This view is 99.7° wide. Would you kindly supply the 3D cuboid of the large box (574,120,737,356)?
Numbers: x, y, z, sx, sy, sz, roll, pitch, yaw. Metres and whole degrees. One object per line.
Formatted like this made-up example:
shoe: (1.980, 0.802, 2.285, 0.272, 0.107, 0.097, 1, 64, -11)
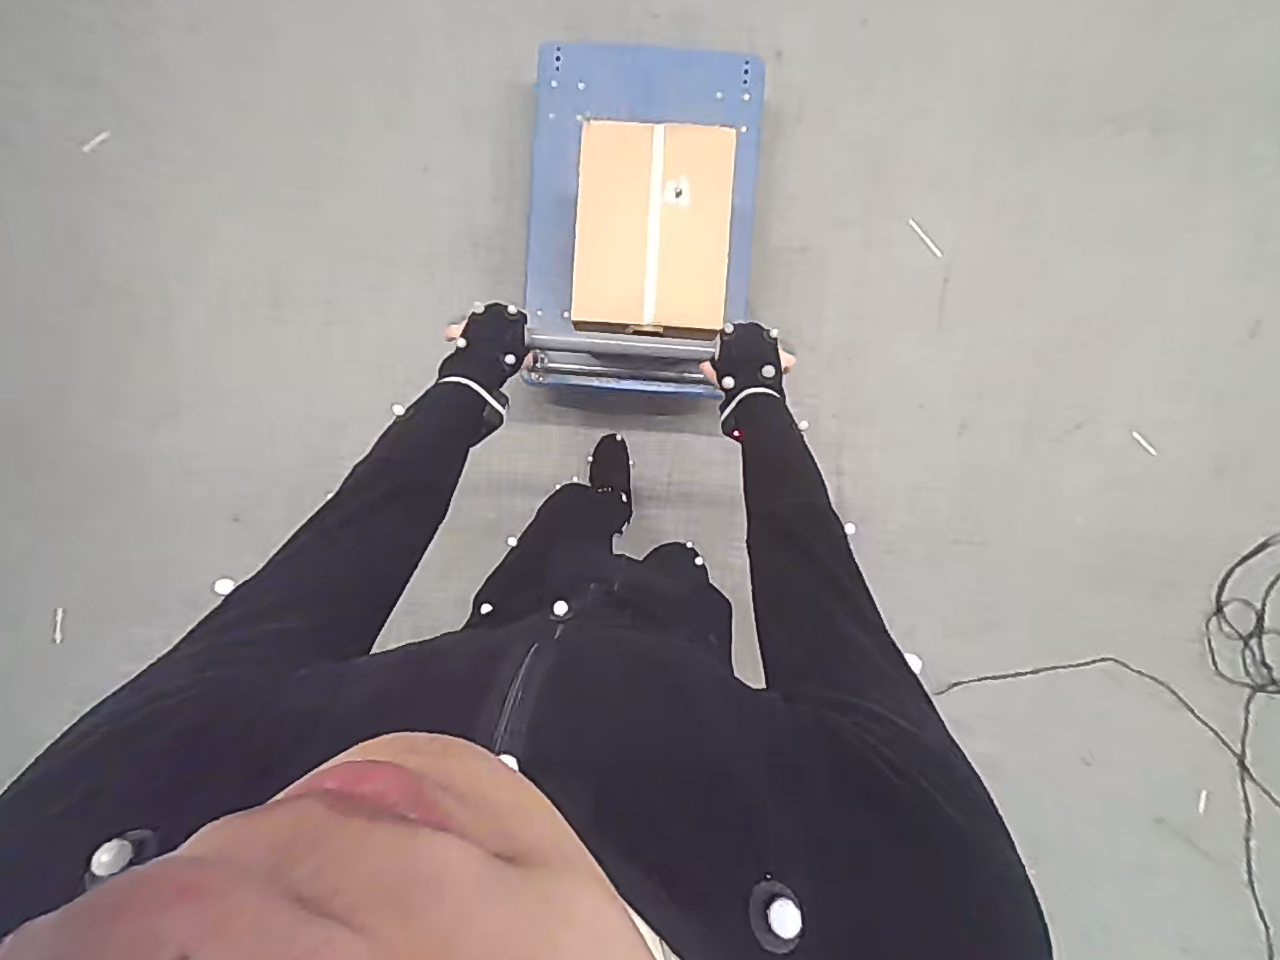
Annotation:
large box: (0.033, -0.515, 1.230, 0.320, 0.320, 0.408, 4, 91, -1)
